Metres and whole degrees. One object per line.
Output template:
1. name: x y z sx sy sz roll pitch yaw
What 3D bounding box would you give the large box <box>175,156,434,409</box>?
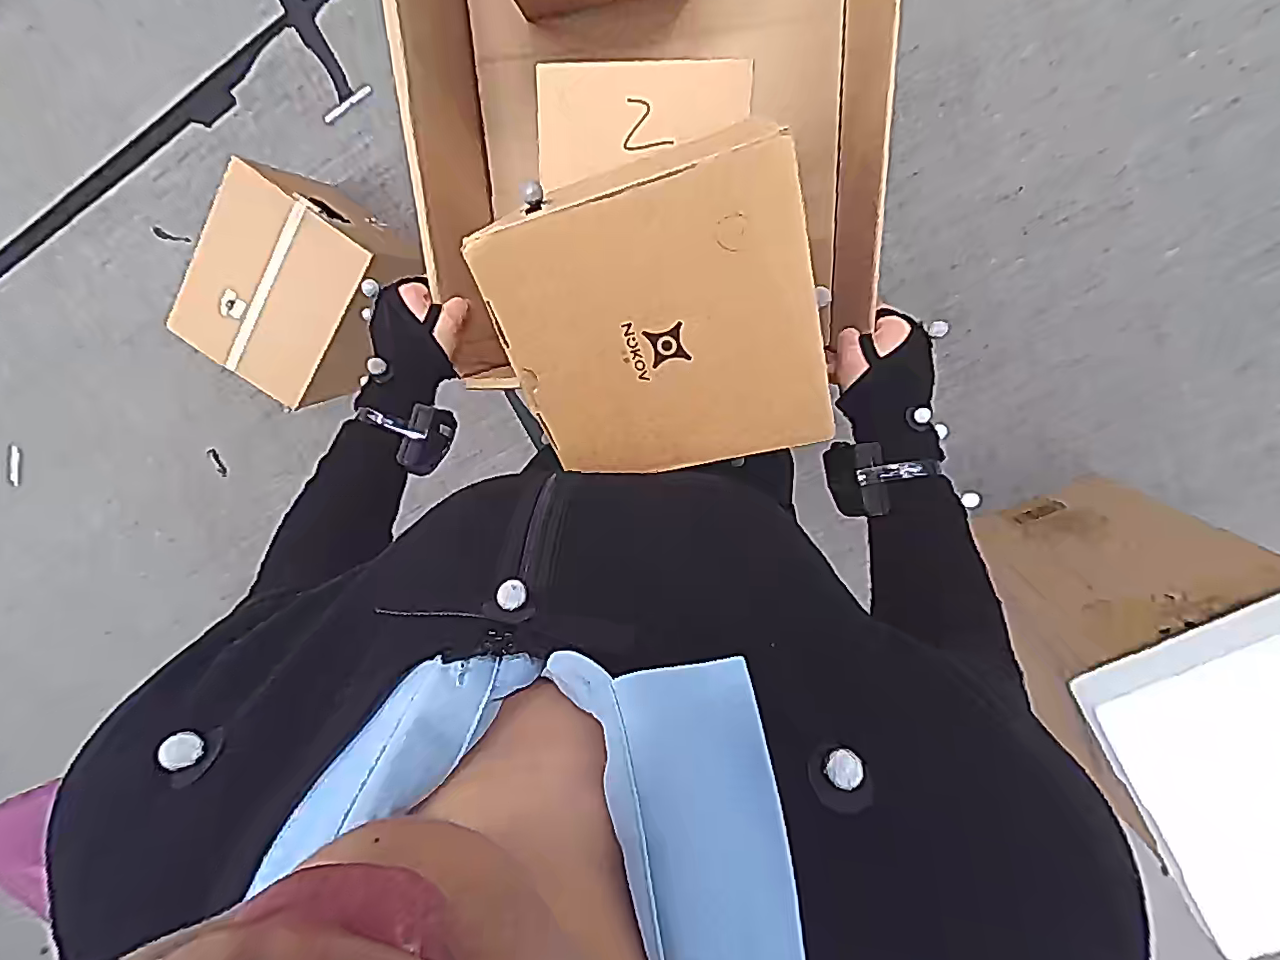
1. large box: -0.753 -0.442 1.256 0.320 0.320 0.408 35 109 -7
